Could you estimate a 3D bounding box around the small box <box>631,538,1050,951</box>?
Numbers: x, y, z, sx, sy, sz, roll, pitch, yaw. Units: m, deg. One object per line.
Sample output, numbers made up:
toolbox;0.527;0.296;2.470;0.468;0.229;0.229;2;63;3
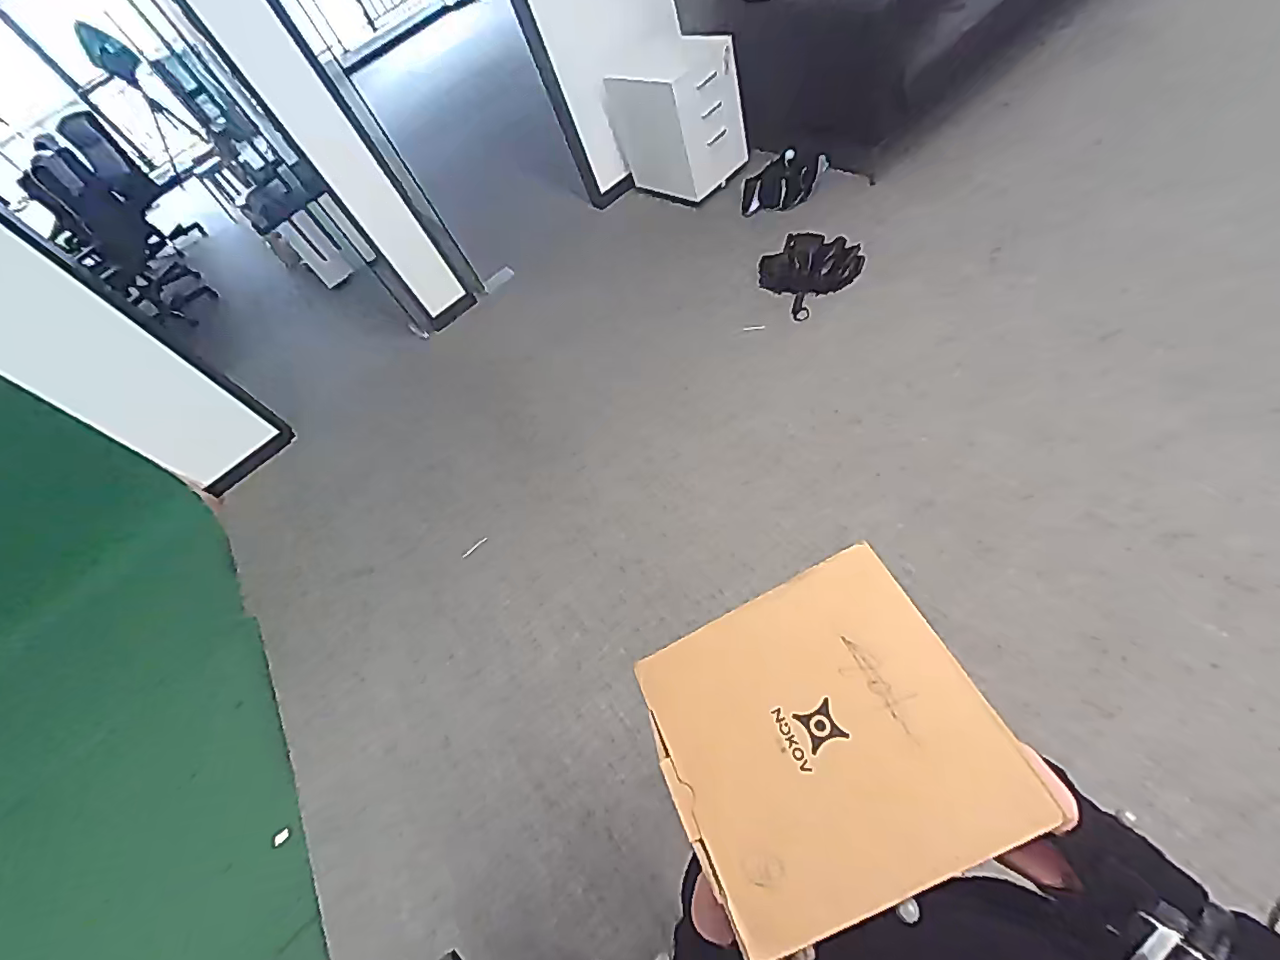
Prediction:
small box;0.124;0.175;0.376;0.179;0.176;0.168;-30;57;4
